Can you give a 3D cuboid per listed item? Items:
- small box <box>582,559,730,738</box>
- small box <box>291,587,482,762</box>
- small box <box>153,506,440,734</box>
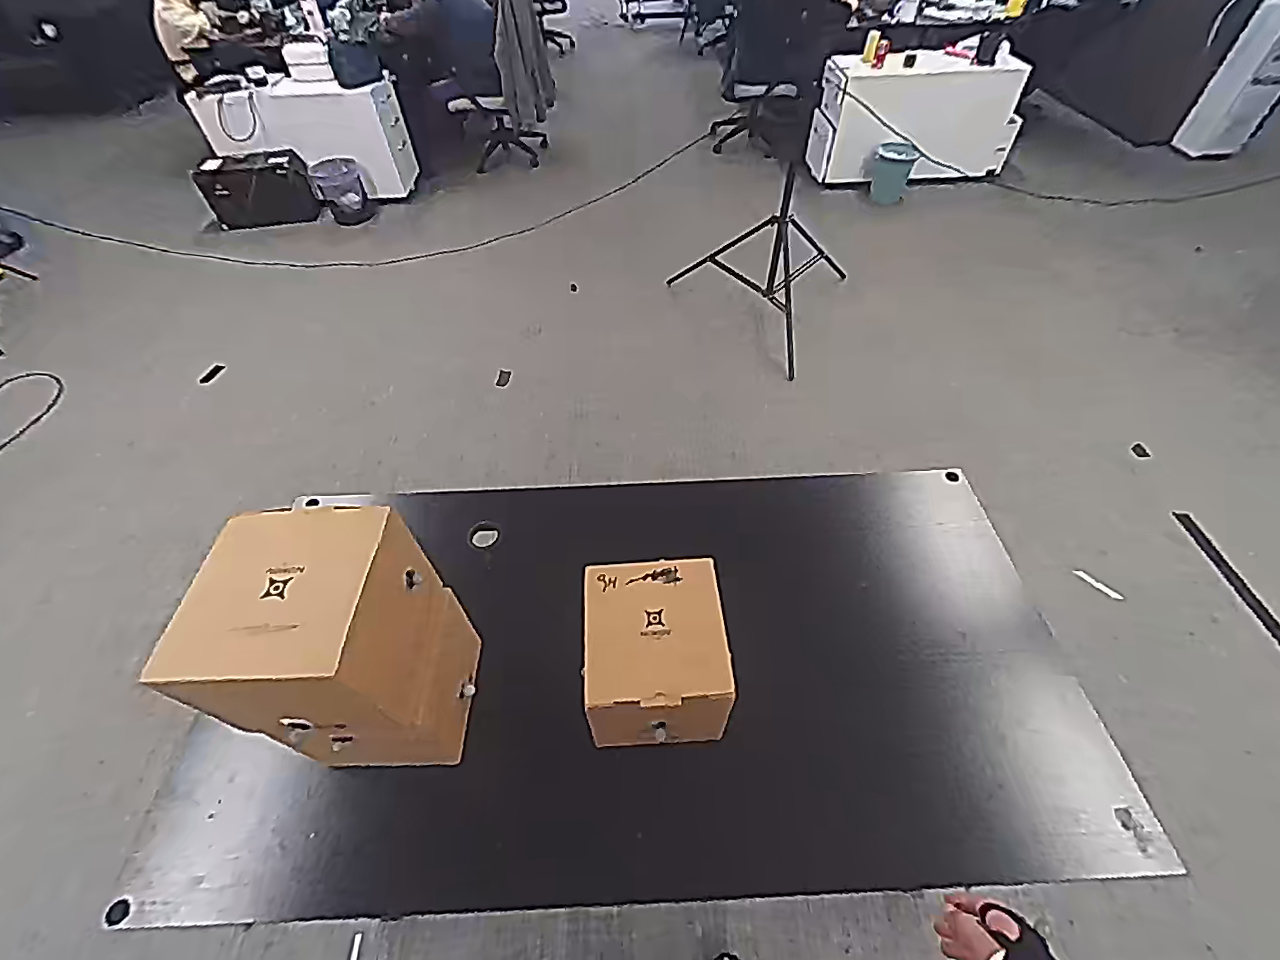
[{"bbox_3d":[0.018,0.224,0.701,0.168,0.176,0.179,-4,50,-1],"label":"small box"},{"bbox_3d":[-0.318,0.250,0.687,0.179,0.176,0.168,-1,50,0],"label":"small box"},{"bbox_3d":[-0.324,0.147,0.561,0.168,0.176,0.179,-3,51,1],"label":"small box"}]
